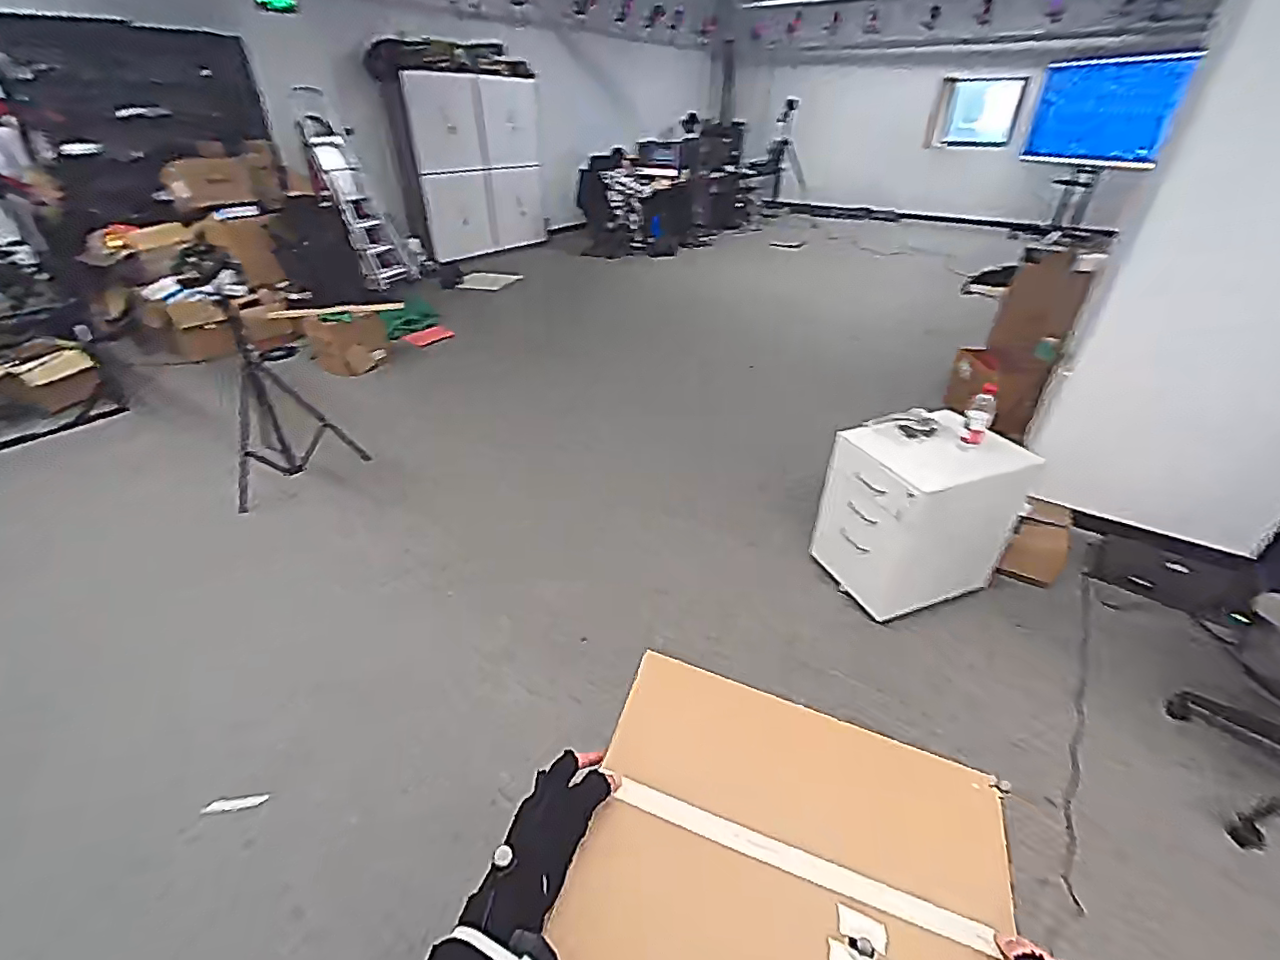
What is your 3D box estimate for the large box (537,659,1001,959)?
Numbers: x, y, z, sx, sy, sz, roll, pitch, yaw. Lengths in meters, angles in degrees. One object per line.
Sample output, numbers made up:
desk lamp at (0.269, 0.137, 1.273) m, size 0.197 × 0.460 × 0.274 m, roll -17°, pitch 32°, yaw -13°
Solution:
large box at (0.130, 0.477, 0.635) m, size 0.408 × 0.320 × 0.320 m, roll 17°, pitch 45°, yaw 11°
